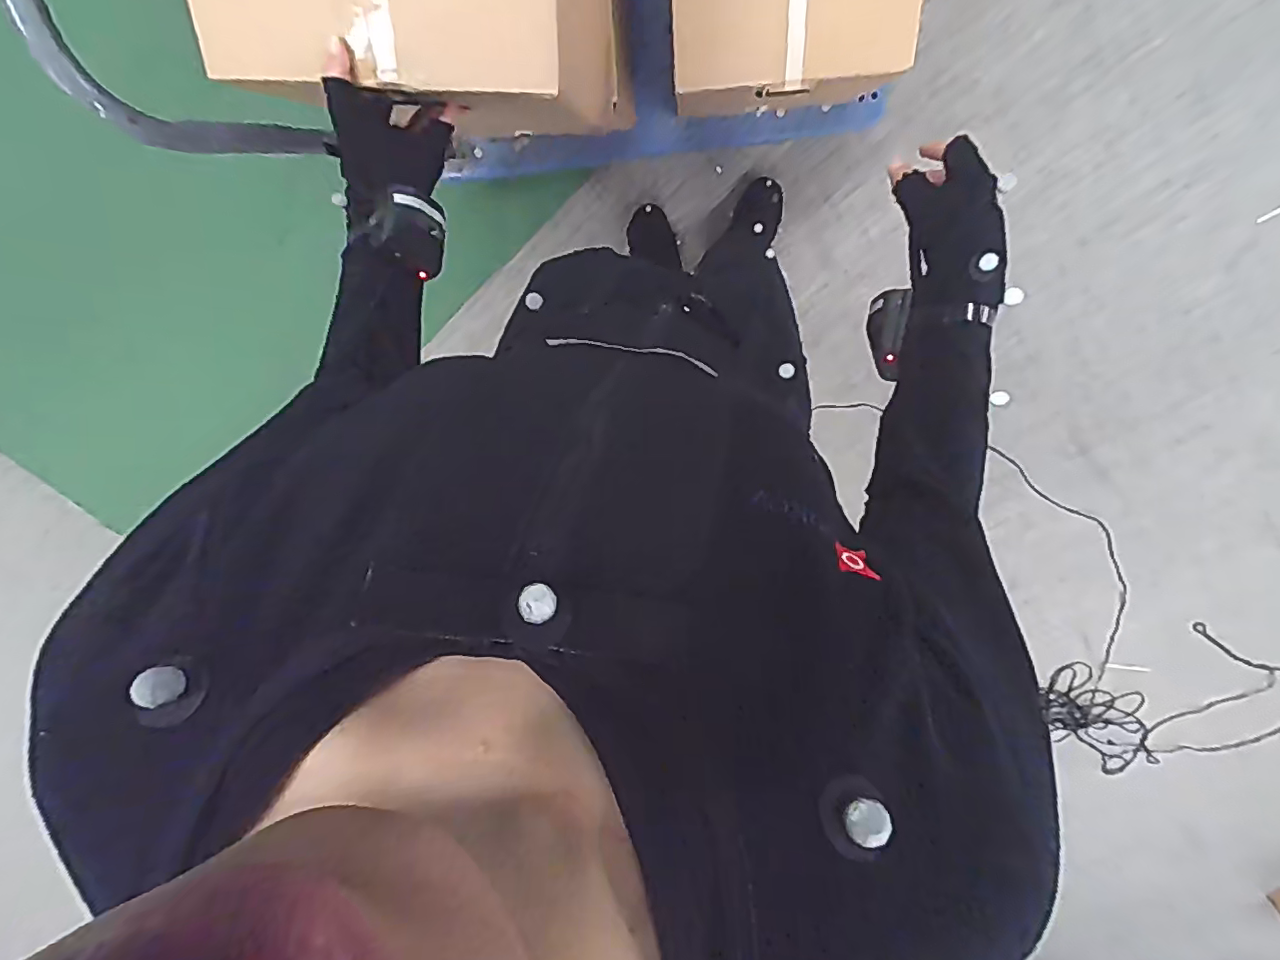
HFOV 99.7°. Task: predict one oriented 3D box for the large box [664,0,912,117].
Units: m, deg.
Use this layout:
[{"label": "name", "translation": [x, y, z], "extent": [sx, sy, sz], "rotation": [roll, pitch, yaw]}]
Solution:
[{"label": "large box", "translation": [0.193, -0.782, 0.764], "extent": [0.320, 0.320, 0.408], "rotation": [-1, 118, 6]}]
